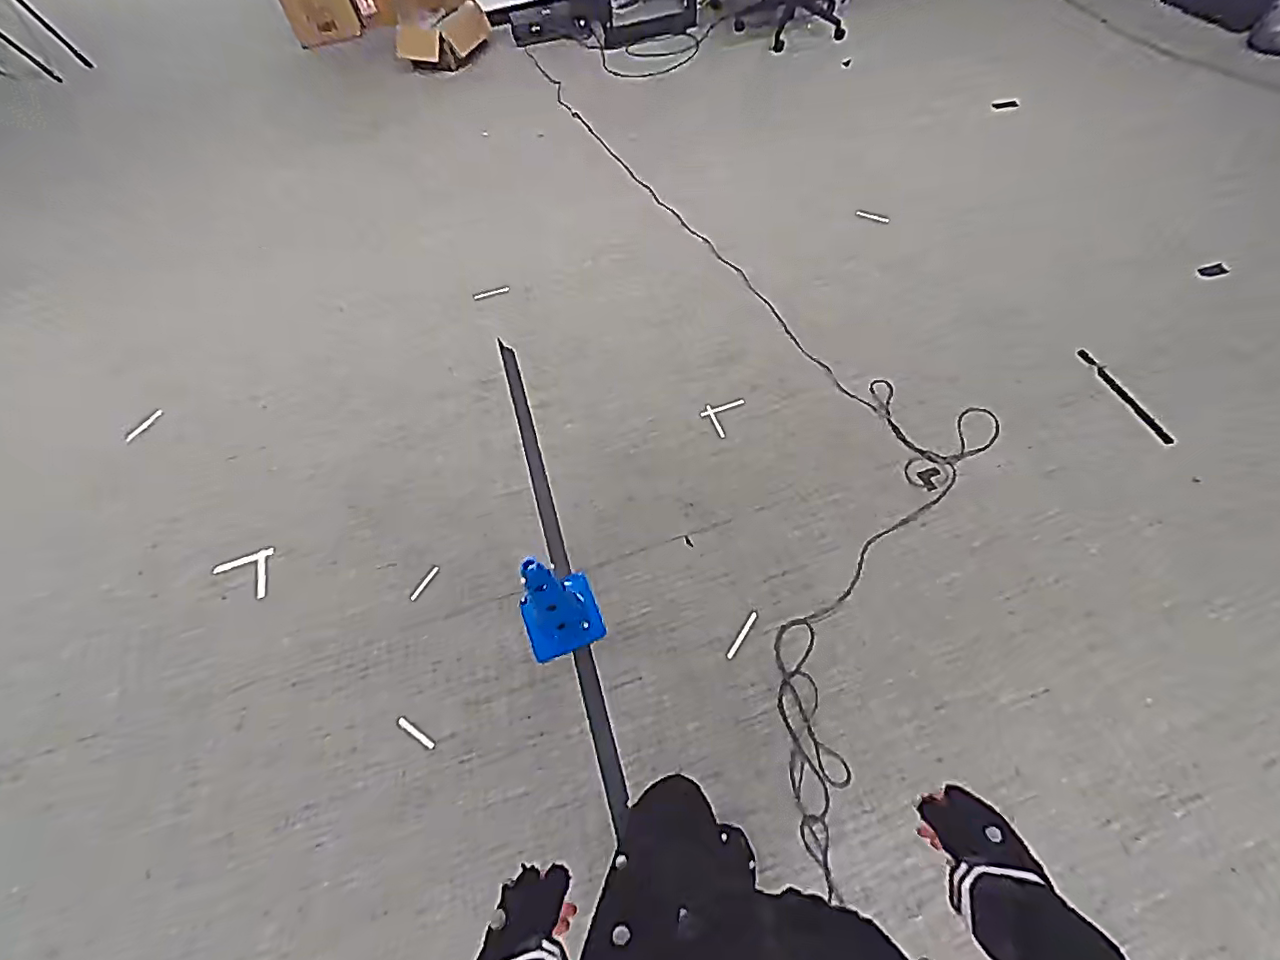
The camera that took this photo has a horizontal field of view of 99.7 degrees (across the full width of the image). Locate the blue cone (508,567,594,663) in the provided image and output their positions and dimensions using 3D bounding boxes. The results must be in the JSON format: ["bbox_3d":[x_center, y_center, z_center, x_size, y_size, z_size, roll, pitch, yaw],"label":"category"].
[{"bbox_3d":[-0.245,0.295,1.329,0.192,0.380,0.193,-21,59,-7],"label":"blue cone"}]
